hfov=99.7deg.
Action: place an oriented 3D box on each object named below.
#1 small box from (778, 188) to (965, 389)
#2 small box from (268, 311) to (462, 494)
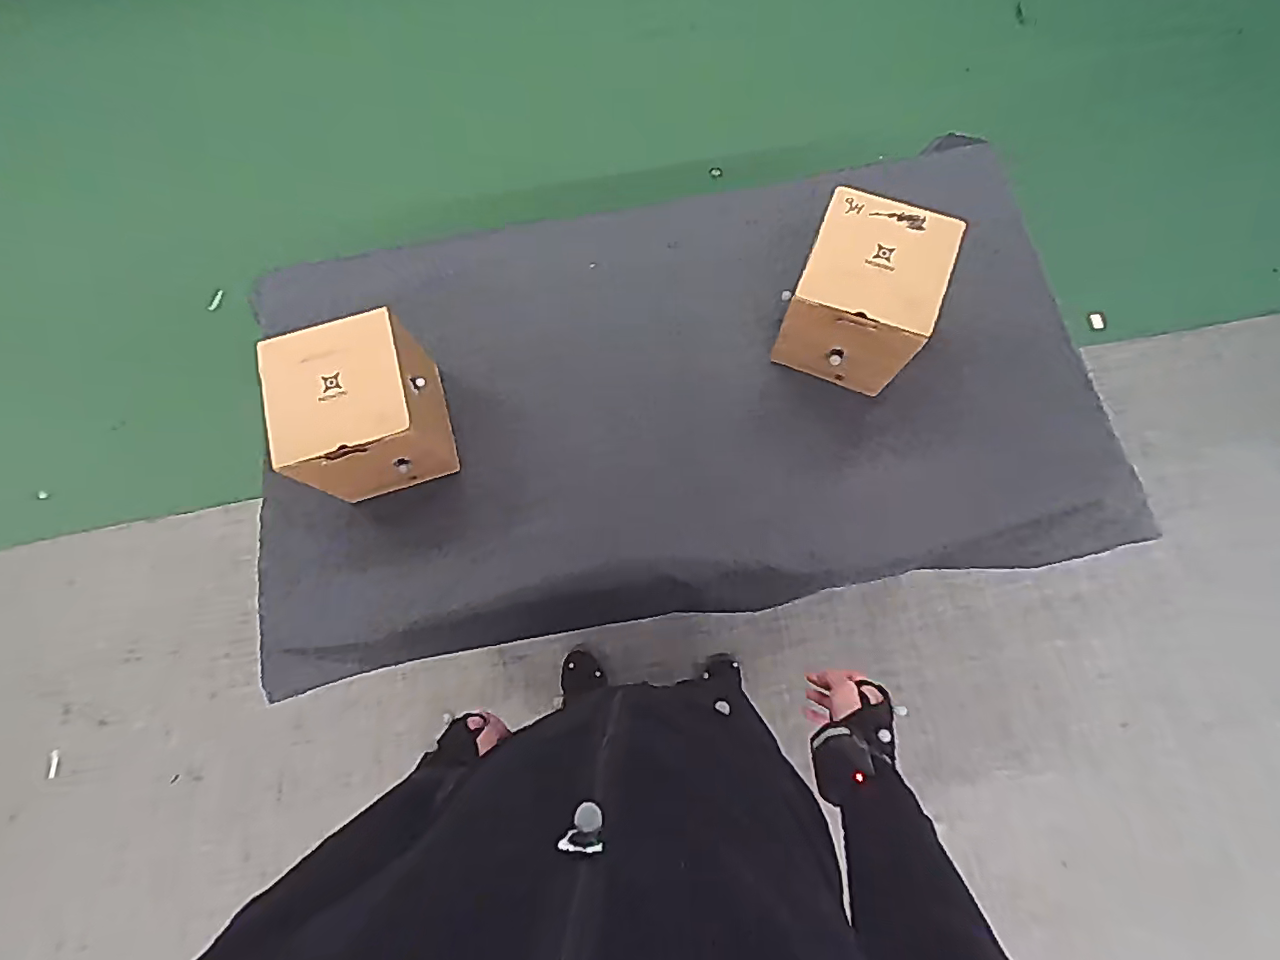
[{"bbox_3d":[0.301,-0.249,0.742,0.168,0.176,0.179,21,78,7],"label":"small box"},{"bbox_3d":[-0.359,-0.091,0.731,0.168,0.176,0.179,-17,74,-4],"label":"small box"}]
